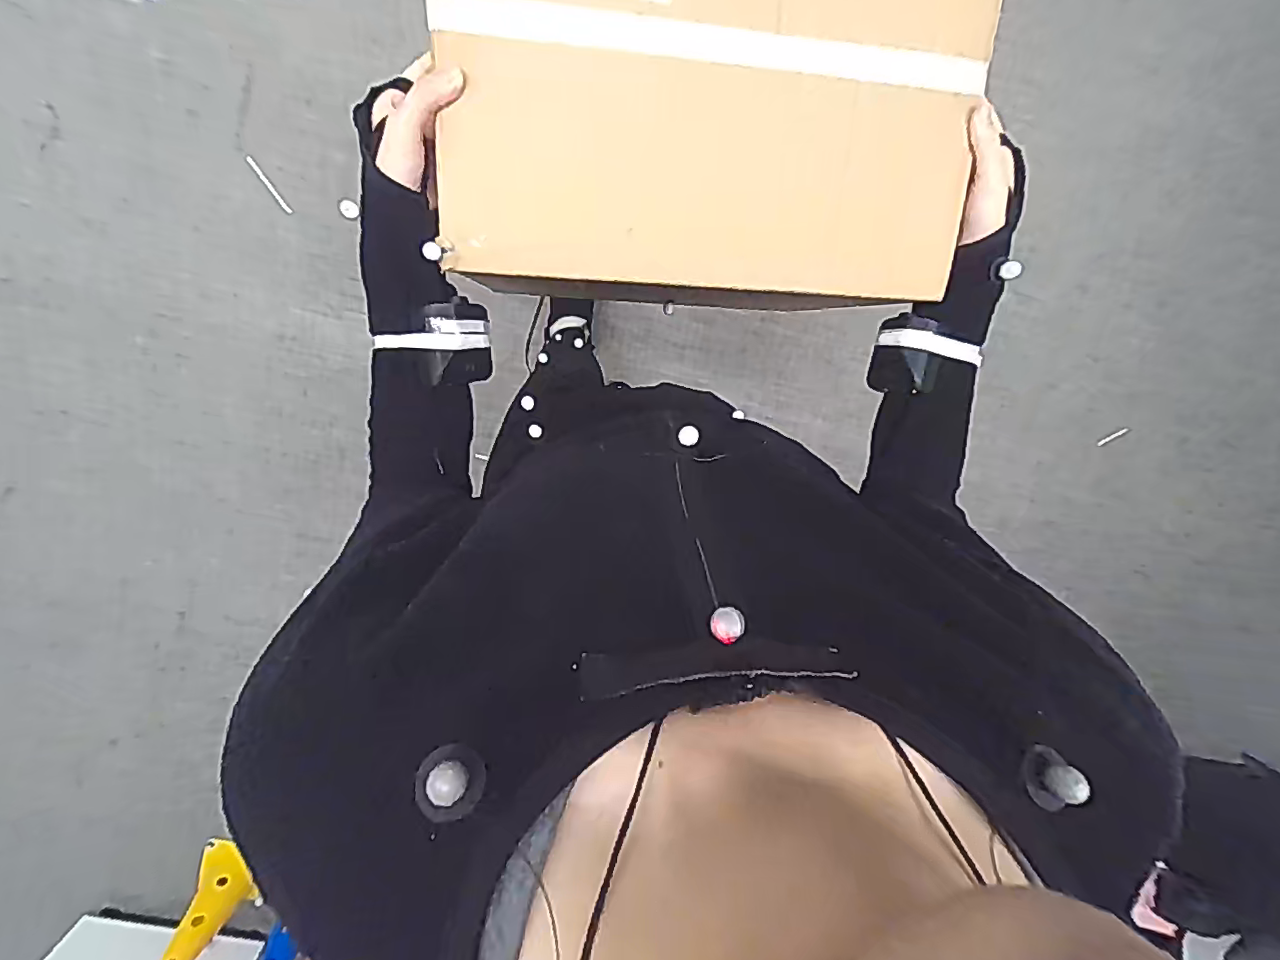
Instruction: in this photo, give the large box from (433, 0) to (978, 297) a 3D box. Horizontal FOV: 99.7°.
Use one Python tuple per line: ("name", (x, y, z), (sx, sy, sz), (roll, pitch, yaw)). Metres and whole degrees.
("large box", (0.038, -0.352, 0.540), (0.408, 0.320, 0.320), (1, 106, -8))
